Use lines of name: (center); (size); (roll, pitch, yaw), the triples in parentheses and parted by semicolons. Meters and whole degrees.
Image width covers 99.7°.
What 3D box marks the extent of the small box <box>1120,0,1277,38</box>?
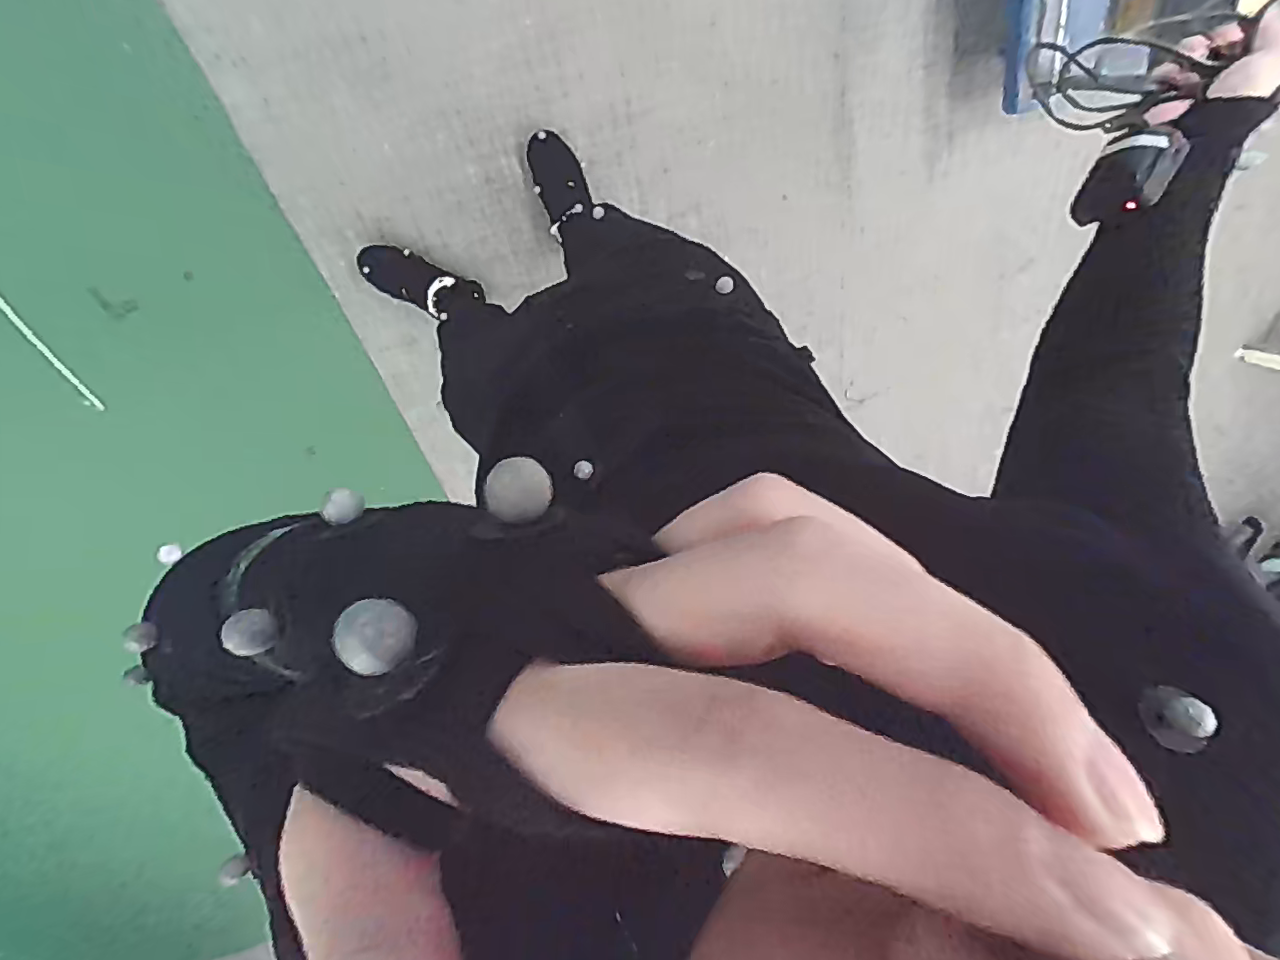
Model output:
small box: (1.123, -1.008, 1.069); (0.179, 0.176, 0.168); (-20, 127, 2)
